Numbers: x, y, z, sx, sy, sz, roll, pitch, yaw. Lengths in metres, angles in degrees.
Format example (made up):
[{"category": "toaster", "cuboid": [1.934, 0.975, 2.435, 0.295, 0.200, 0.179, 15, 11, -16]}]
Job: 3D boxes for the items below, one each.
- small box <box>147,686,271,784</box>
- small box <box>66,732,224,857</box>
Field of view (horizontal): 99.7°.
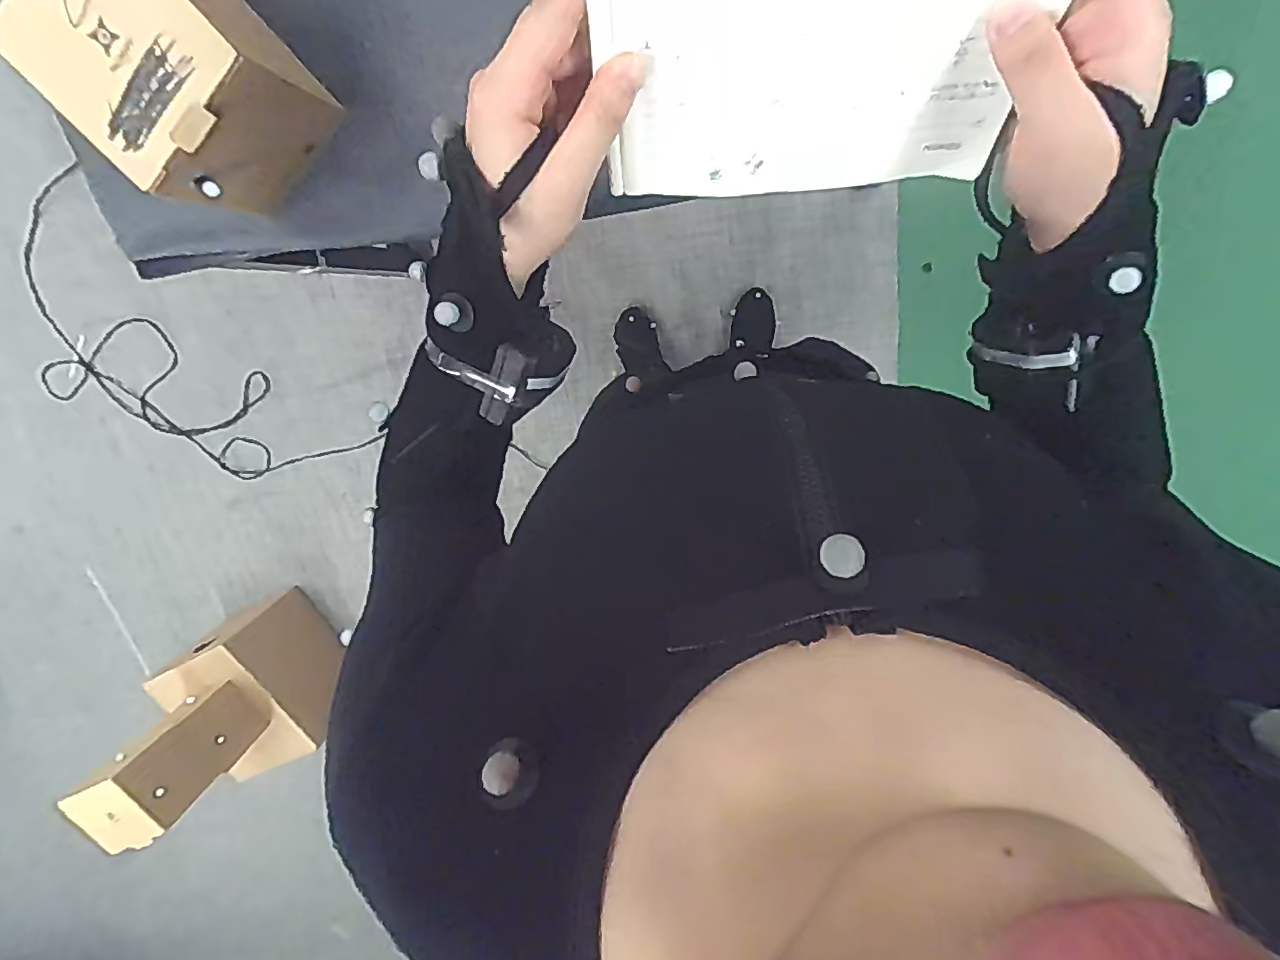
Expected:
[{"category": "small box", "cuboid": [-1.131, 0.684, 1.423, 0.168, 0.176, 0.179, -26, 105, 10]}, {"category": "small box", "cuboid": [-1.144, 0.724, 1.265, 0.168, 0.176, 0.179, -25, 106, 10]}]
